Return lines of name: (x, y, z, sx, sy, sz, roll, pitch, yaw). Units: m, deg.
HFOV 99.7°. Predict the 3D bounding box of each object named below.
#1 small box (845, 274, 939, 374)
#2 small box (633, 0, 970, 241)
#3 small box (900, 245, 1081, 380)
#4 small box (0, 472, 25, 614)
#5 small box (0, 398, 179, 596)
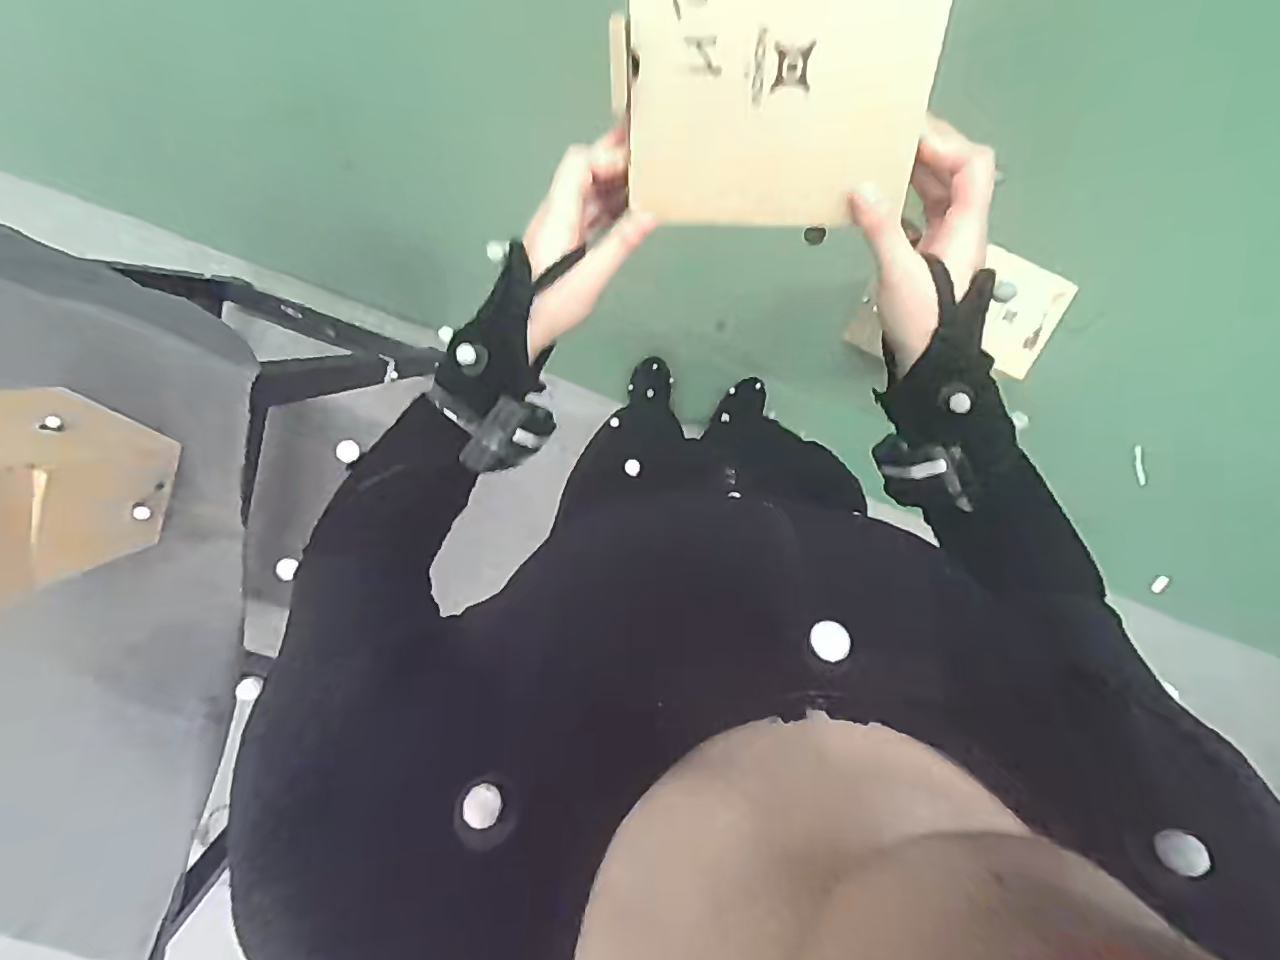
small box: (0.624, -0.369, 1.282, 0.179, 0.176, 0.168, 25, 105, -5)
small box: (0.092, -0.264, 0.366, 0.179, 0.176, 0.168, 3, 122, 7)
small box: (0.605, -0.289, 0.963, 0.179, 0.176, 0.168, 23, 104, -4)
small box: (-0.745, 0.060, 0.506, 0.168, 0.176, 0.179, 19, 106, 0)
small box: (-0.731, 0.010, 0.660, 0.179, 0.176, 0.168, 26, 105, -4)
